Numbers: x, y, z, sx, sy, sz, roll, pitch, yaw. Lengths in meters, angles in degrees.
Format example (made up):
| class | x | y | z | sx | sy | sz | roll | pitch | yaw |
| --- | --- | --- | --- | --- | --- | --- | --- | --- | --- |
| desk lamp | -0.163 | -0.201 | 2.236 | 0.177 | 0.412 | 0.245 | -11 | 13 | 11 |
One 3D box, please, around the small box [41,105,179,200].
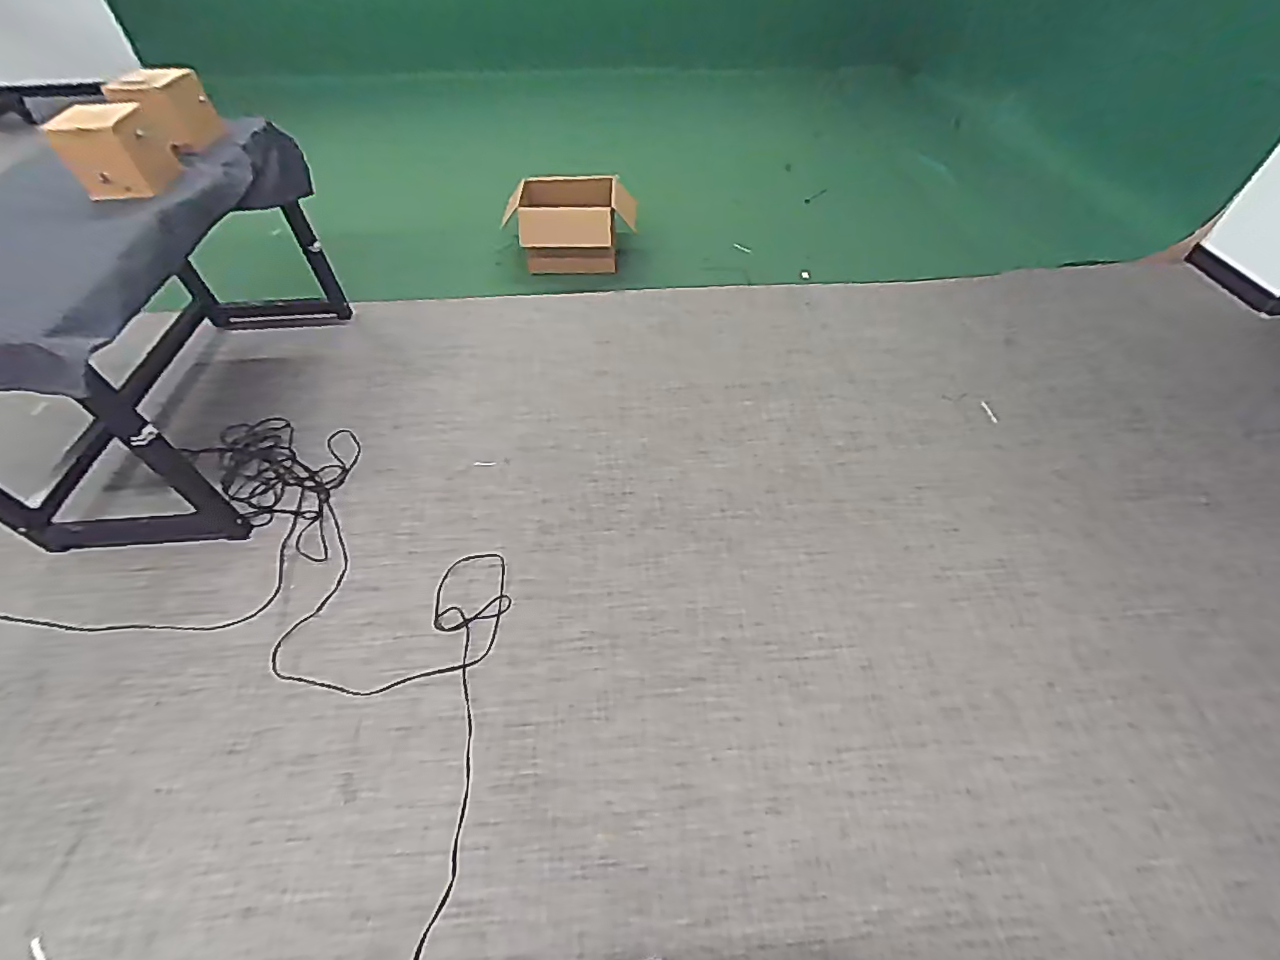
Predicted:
| class | x | y | z | sx | sy | sz | roll | pitch | yaw |
| --- | --- | --- | --- | --- | --- | --- | --- | --- | --- |
| small box | -1.372 | -0.860 | 1.419 | 0.168 | 0.176 | 0.179 | -5 | 52 | -4 |
